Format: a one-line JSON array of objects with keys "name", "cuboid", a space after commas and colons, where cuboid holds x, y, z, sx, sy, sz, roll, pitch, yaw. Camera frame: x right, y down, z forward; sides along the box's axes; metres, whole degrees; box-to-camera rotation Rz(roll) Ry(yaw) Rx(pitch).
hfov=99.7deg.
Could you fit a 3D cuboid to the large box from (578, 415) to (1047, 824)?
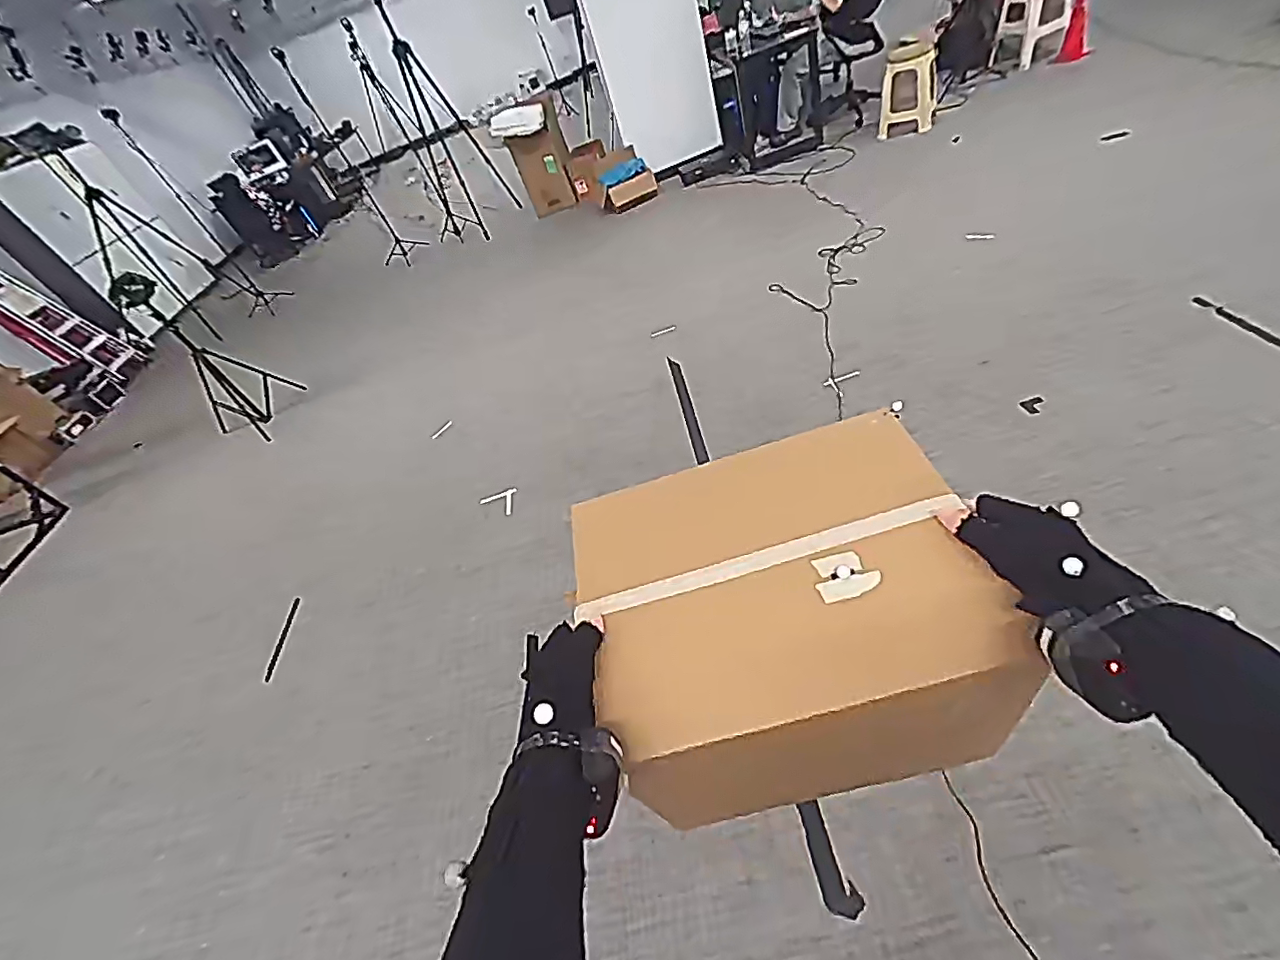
[{"name": "large box", "cuboid": [0.171, 0.182, 0.676, 0.408, 0.320, 0.320, -17, 47, 5]}]
